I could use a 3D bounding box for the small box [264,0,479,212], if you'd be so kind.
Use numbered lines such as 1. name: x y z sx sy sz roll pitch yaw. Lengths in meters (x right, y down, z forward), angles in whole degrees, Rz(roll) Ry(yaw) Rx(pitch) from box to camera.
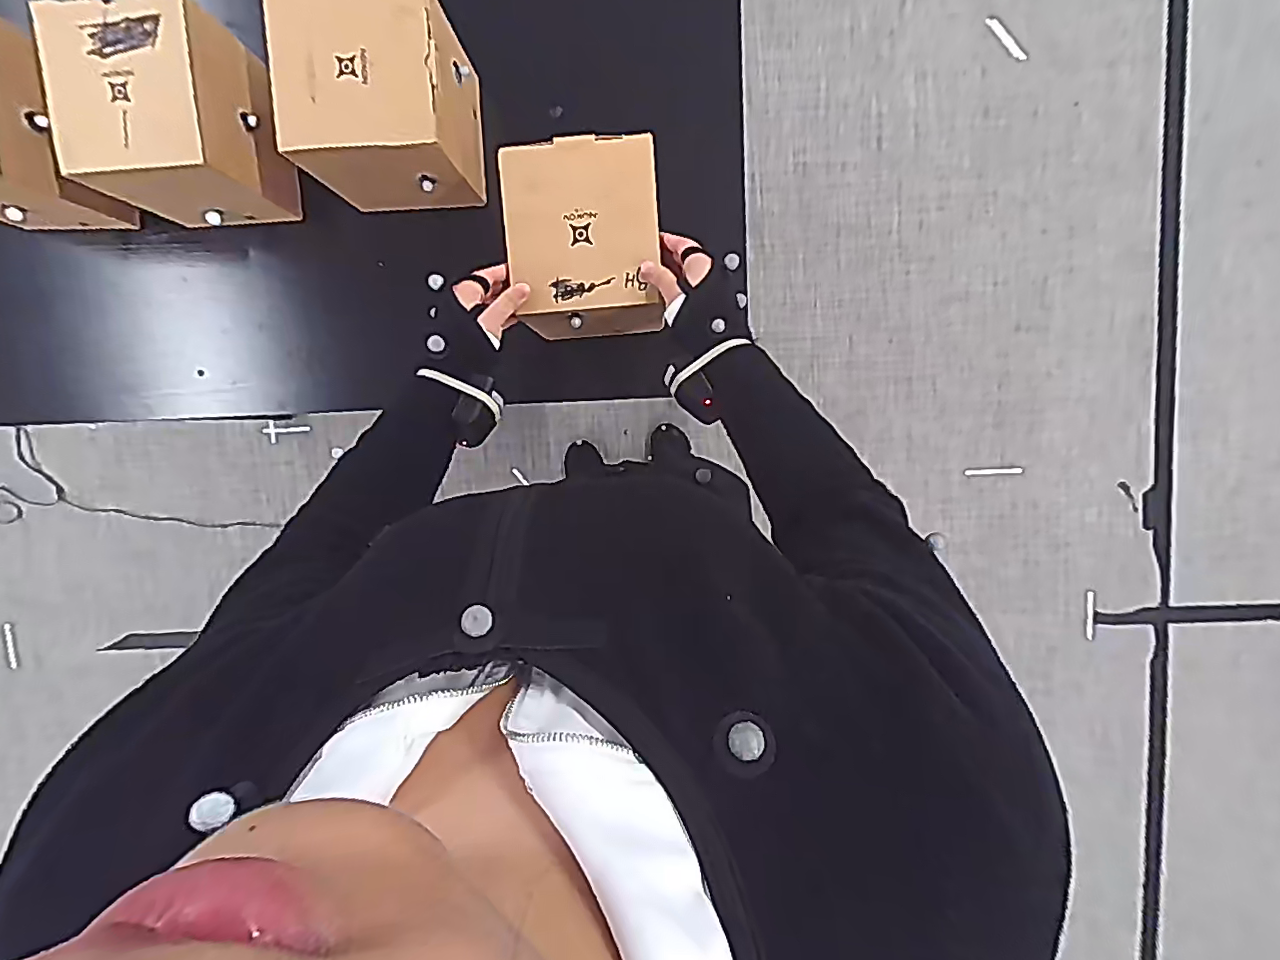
1. small box: -0.302 -0.441 0.648 0.179 0.176 0.168 -2 94 3

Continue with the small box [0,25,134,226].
1. small box: -0.774 -0.426 0.660 0.168 0.176 0.179 0 96 1

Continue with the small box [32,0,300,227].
1. small box: -0.550 -0.429 0.653 0.168 0.176 0.179 -3 97 1

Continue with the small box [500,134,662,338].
1. small box: -0.061 -0.279 0.655 0.168 0.176 0.179 -4 96 3
